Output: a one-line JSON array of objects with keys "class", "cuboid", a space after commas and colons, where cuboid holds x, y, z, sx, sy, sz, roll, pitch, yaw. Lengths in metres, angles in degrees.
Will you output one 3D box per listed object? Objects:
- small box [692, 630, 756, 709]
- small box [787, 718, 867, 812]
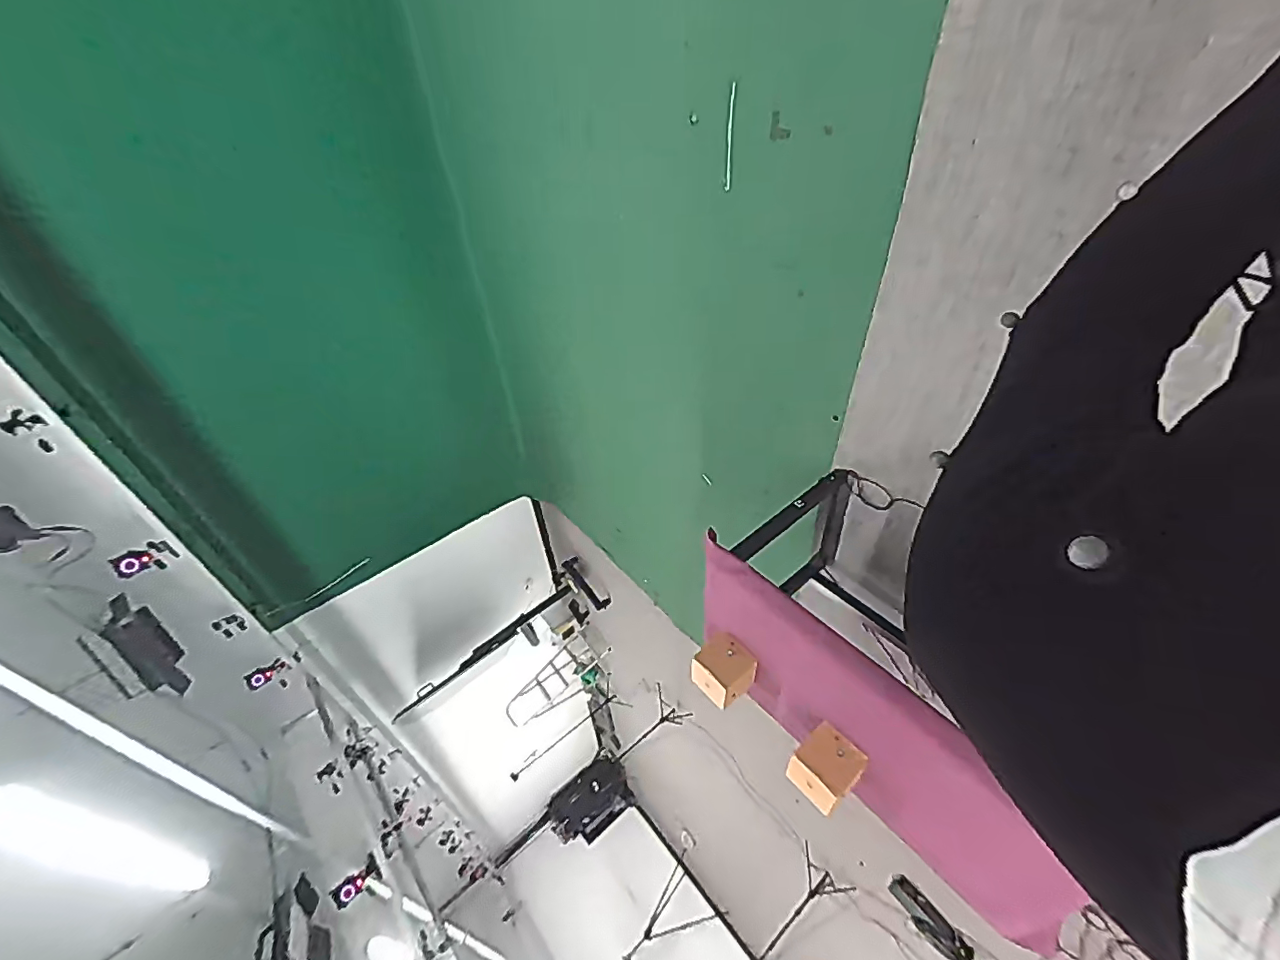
[{"class": "small box", "cuboid": [0.307, 0.690, 1.979, 0.168, 0.176, 0.179, 37, 146, 34]}, {"class": "small box", "cuboid": [0.595, 0.905, 1.724, 0.168, 0.176, 0.179, 37, 146, 36]}]
